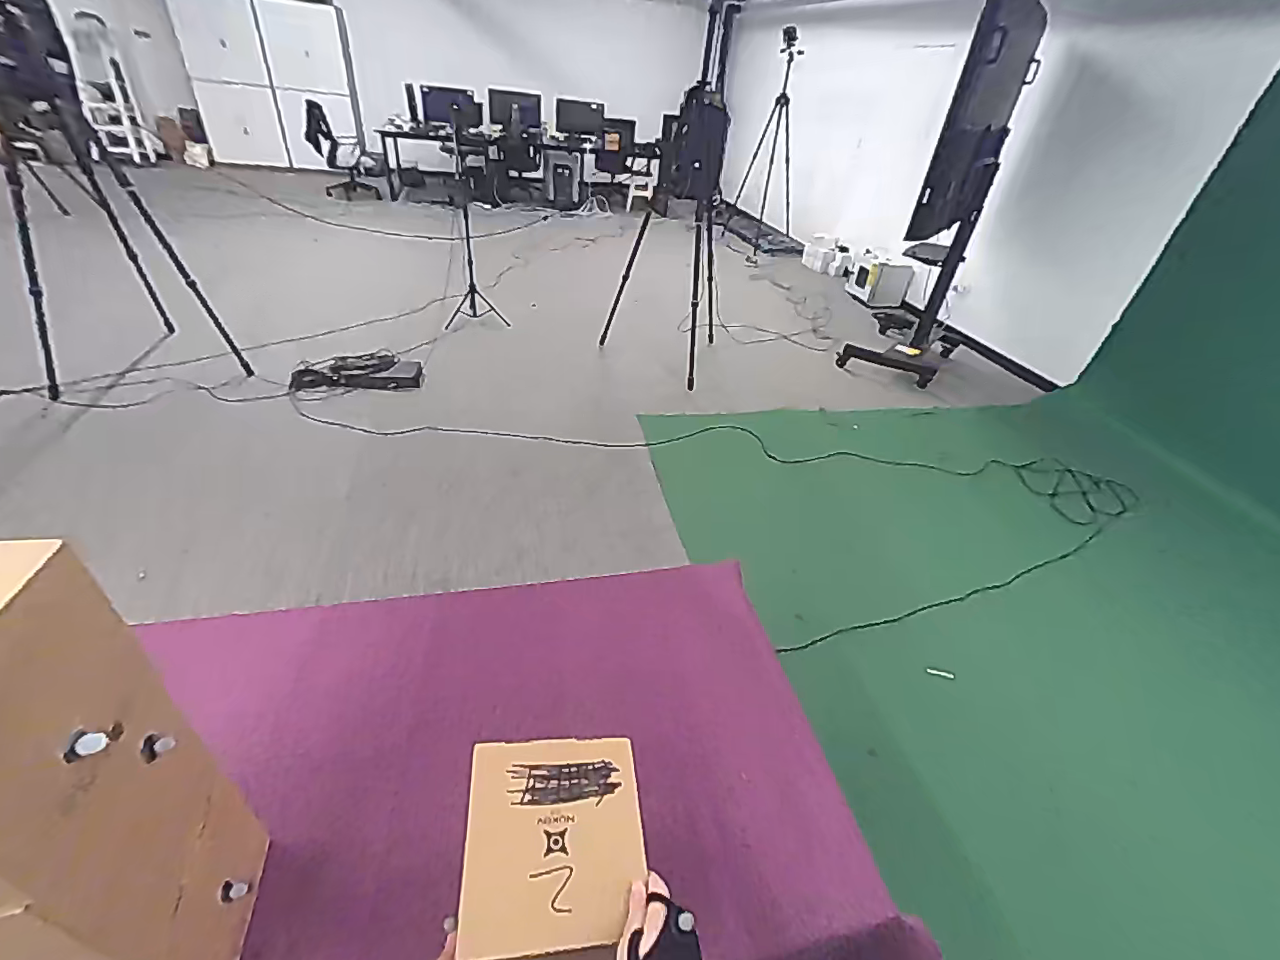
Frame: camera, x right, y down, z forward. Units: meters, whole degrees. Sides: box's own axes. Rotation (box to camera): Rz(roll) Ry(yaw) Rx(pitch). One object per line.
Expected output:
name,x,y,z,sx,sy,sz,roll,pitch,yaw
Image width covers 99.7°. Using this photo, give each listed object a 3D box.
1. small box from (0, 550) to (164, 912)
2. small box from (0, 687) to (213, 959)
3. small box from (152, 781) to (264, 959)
small box,-0.471,0.166,0.345,0.179,0.176,0.168,-2,37,-13
small box,-0.492,0.299,0.440,0.168,0.176,0.179,-4,38,-13
small box,-0.507,0.434,0.534,0.179,0.176,0.168,-4,37,-16
